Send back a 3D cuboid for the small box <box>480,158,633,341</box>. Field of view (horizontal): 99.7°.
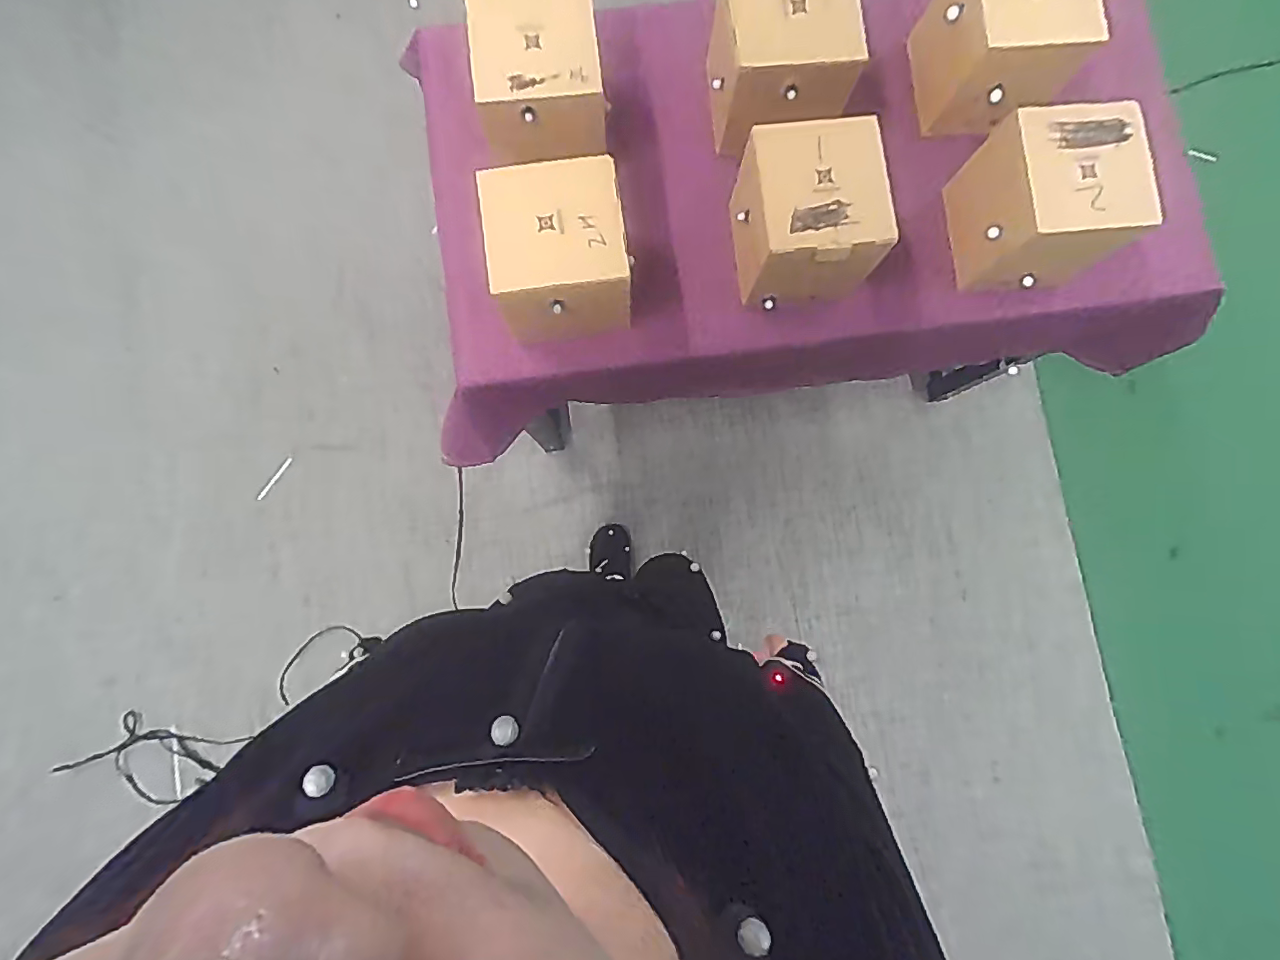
[{"bbox_3d":[-0.106,-0.305,0.749,0.179,0.176,0.168,-7,84,-1],"label":"small box"}]

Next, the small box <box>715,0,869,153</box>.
[{"bbox_3d":[0.207,-0.609,0.790,0.179,0.176,0.168,-4,84,-2],"label":"small box"}]

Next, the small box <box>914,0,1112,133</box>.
[{"bbox_3d":[0.533,-0.645,0.798,0.168,0.176,0.179,-4,83,-1],"label":"small box"}]

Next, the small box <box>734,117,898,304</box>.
[{"bbox_3d":[0.234,-0.363,0.761,0.168,0.176,0.179,-6,82,-2],"label":"small box"}]

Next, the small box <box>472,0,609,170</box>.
[{"bbox_3d":[-0.135,-0.560,0.779,0.168,0.176,0.179,-6,83,-2],"label":"small box"}]
